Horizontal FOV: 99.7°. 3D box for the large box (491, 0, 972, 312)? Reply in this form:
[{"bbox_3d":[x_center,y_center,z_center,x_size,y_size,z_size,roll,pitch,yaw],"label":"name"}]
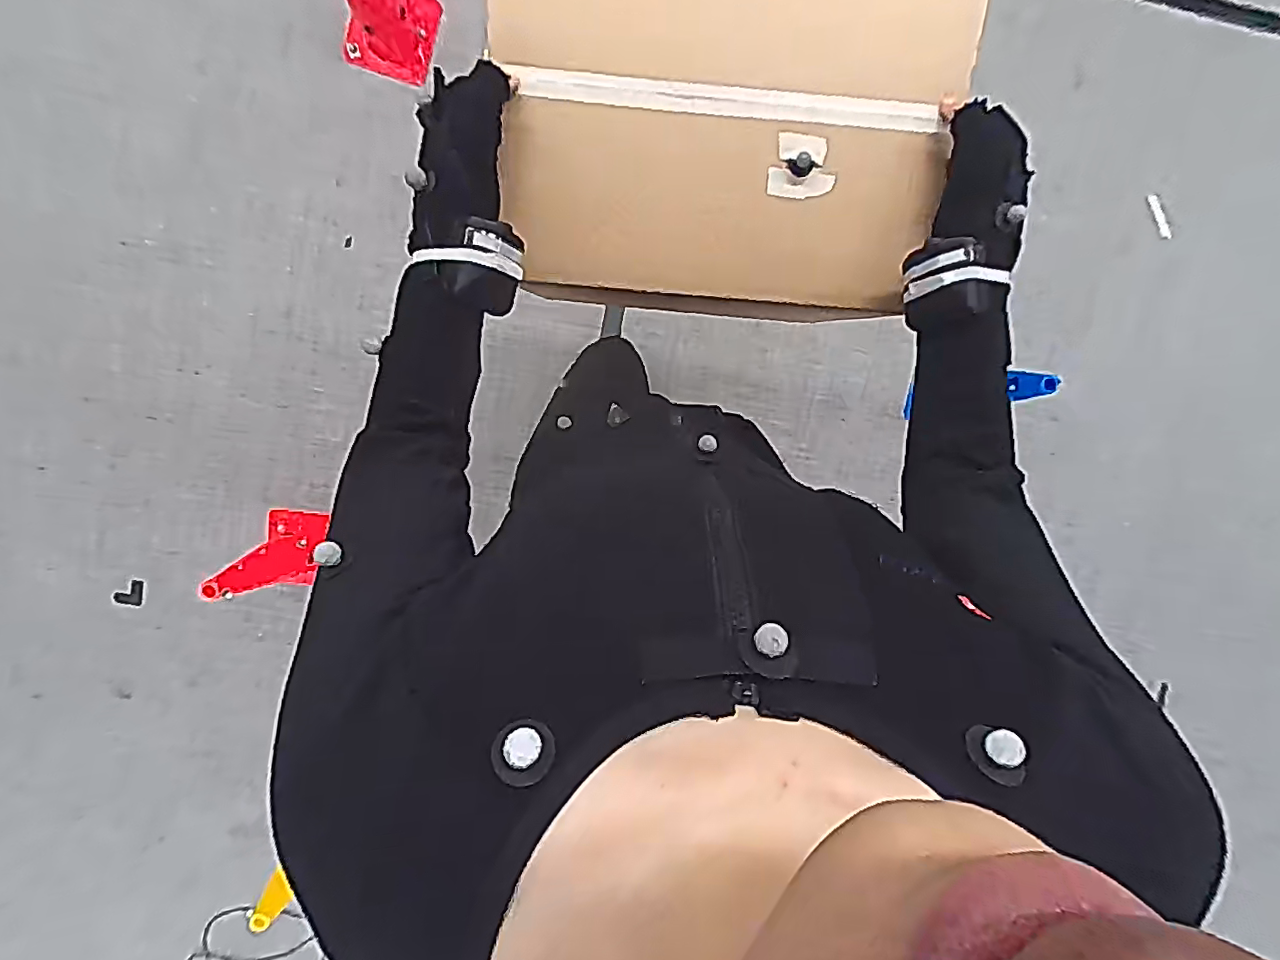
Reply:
[{"bbox_3d":[0.067,-0.367,0.605,0.408,0.320,0.320,4,105,-3],"label":"large box"}]

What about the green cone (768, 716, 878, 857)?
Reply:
[{"bbox_3d":[0.512,0.837,1.421,0.202,0.368,0.200,-28,99,-1],"label":"green cone"}]

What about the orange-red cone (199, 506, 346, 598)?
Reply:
[{"bbox_3d":[-0.879,0.199,1.266,0.198,0.360,0.199,7,98,-3],"label":"orange-red cone"}]

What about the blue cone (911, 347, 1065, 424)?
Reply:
[{"bbox_3d":[0.856,-0.237,1.319,0.192,0.380,0.193,13,97,-6],"label":"blue cone"}]

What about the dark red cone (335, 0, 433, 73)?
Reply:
[{"bbox_3d":[-0.583,-1.055,1.096,0.201,0.394,0.202,15,96,-6],"label":"dark red cone"}]
